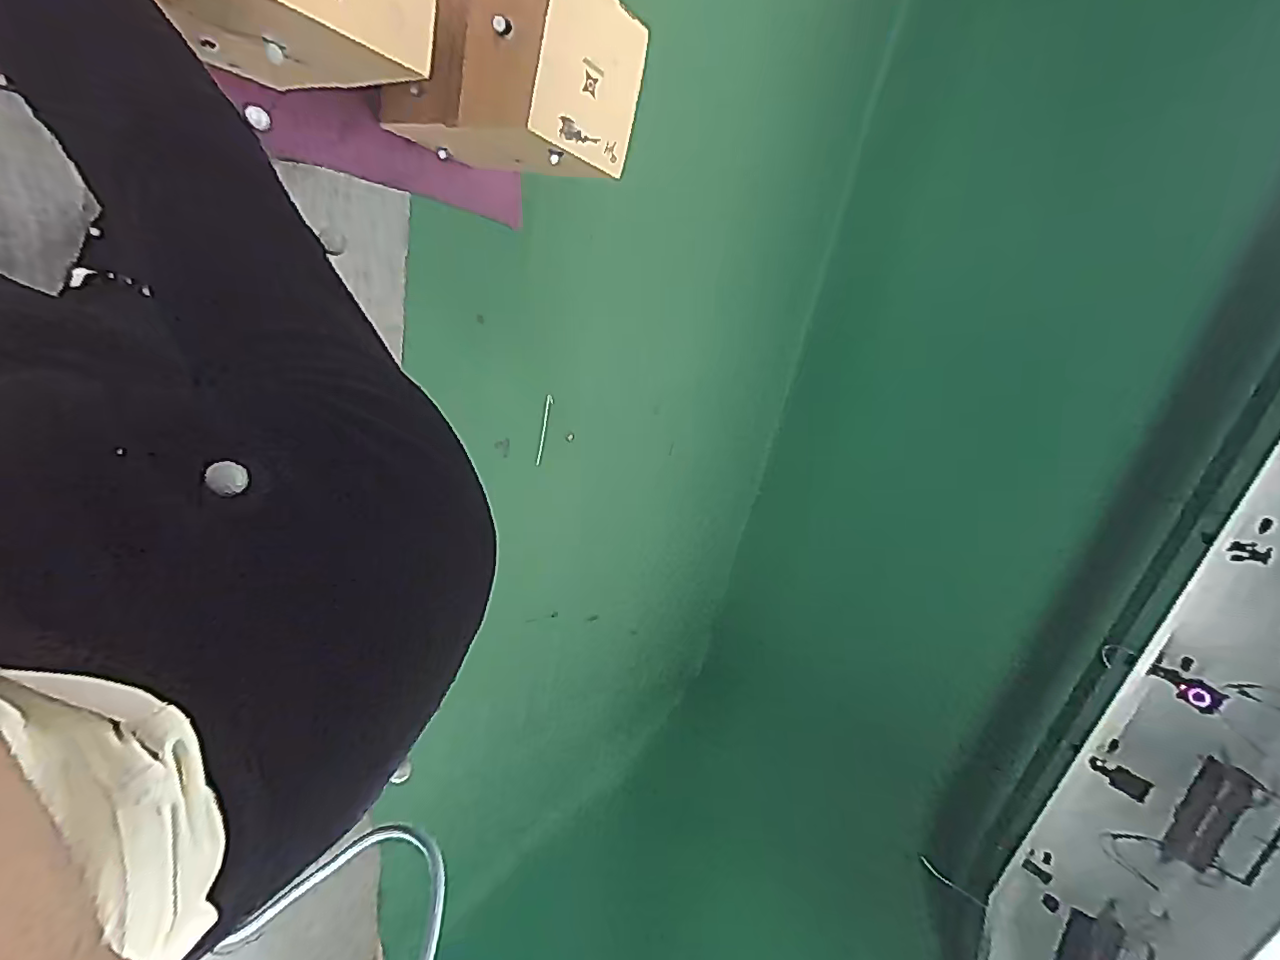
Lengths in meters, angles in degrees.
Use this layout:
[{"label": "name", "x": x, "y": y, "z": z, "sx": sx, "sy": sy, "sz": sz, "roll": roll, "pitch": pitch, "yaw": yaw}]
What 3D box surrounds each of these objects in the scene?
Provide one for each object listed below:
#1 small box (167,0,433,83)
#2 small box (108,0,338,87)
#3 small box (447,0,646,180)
[{"label": "small box", "x": -0.293, "y": -0.474, "z": 0.460, "sx": 0.168, "sy": 0.176, "sz": 0.179, "roll": -10, "pitch": 119, "yaw": -52}, {"label": "small box", "x": -0.421, "y": -0.530, "z": 0.547, "sx": 0.168, "sy": 0.176, "sz": 0.179, "roll": -11, "pitch": 119, "yaw": -52}, {"label": "small box", "x": -0.121, "y": -0.504, "z": 0.682, "sx": 0.168, "sy": 0.176, "sz": 0.179, "roll": -7, "pitch": 116, "yaw": -52}]
